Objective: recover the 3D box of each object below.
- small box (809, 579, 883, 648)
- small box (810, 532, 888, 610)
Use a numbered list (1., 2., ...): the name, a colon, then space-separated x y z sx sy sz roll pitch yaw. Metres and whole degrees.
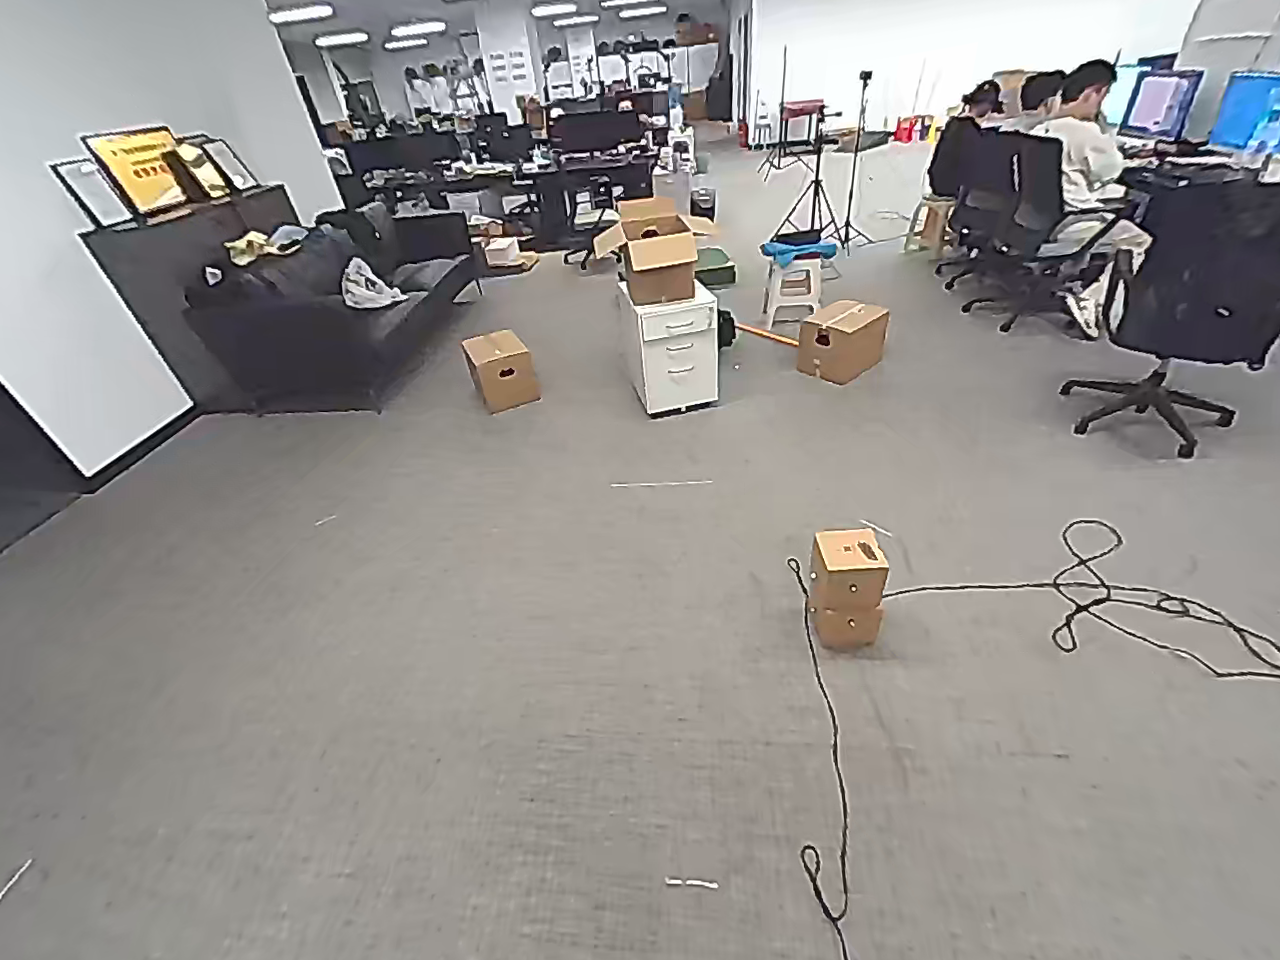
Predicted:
1. small box: 0.649 0.419 1.727 0.179 0.176 0.168 -6 37 1
2. small box: 0.628 0.278 1.646 0.179 0.176 0.168 -5 36 5
